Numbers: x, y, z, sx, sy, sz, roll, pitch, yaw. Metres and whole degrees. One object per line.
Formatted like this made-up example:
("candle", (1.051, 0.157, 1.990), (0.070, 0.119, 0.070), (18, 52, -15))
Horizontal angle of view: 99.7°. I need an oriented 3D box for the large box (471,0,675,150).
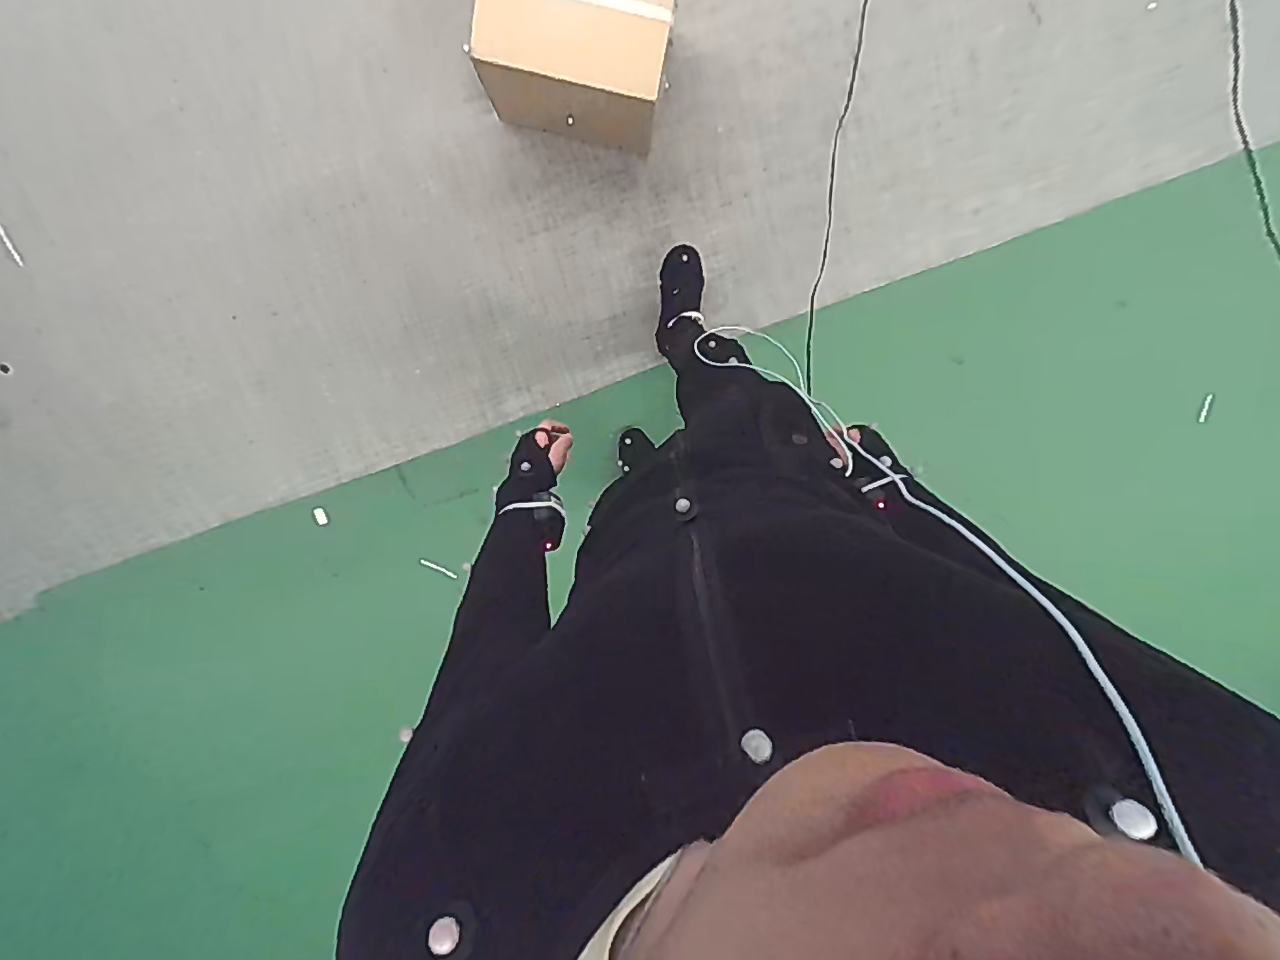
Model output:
("large box", (-0.136, -1.025, 1.262), (0.408, 0.320, 0.320), (11, 101, -3))
